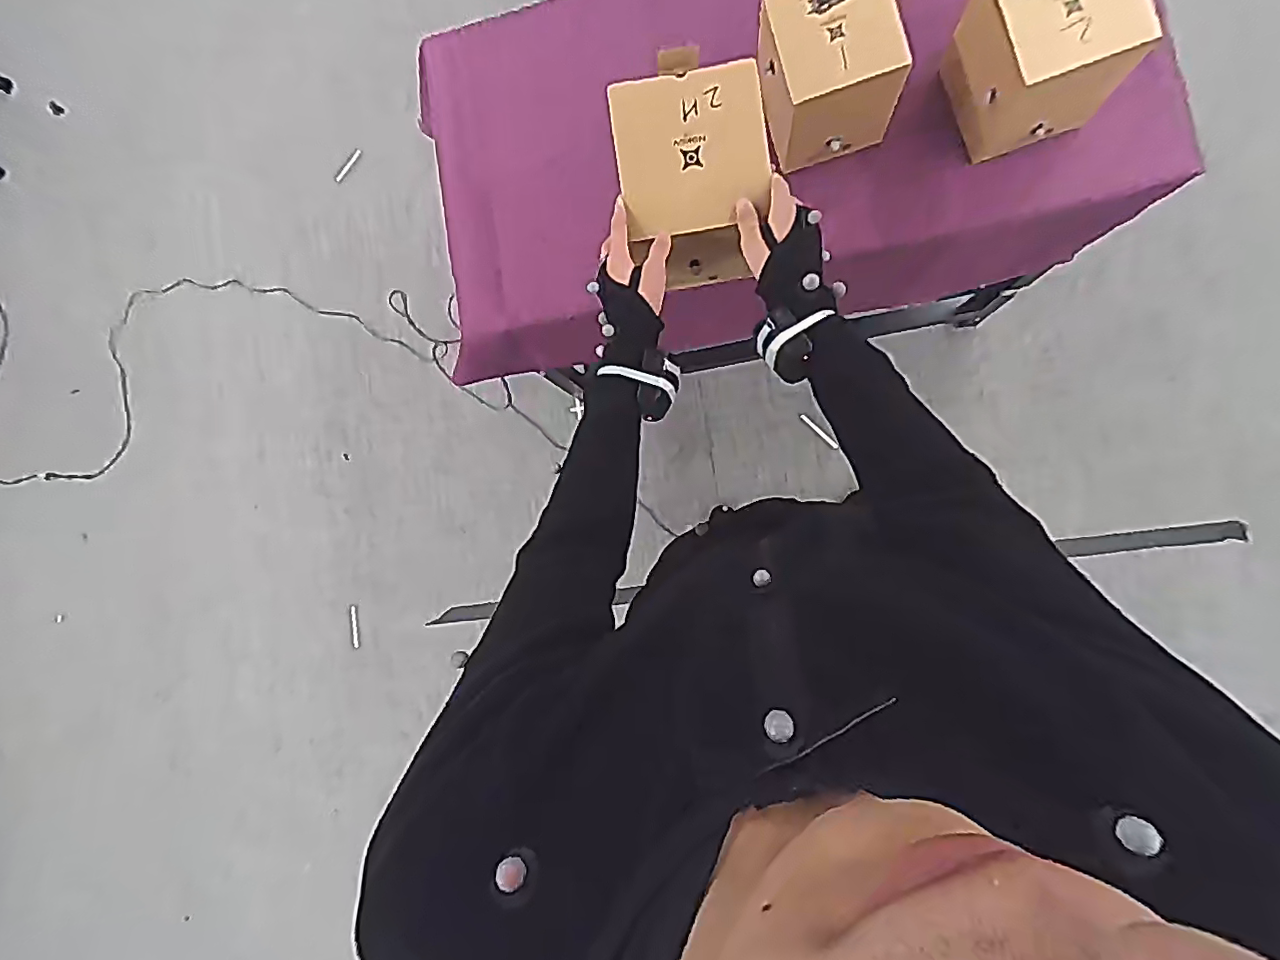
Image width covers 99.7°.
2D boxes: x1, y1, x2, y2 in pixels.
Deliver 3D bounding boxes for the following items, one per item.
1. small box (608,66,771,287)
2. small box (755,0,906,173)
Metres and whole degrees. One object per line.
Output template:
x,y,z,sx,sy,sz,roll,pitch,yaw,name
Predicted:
0.060,-0.357,0.676,0.168,0.176,0.179,-8,88,3,small box
0.281,-0.627,0.839,0.168,0.176,0.179,-15,85,9,small box
